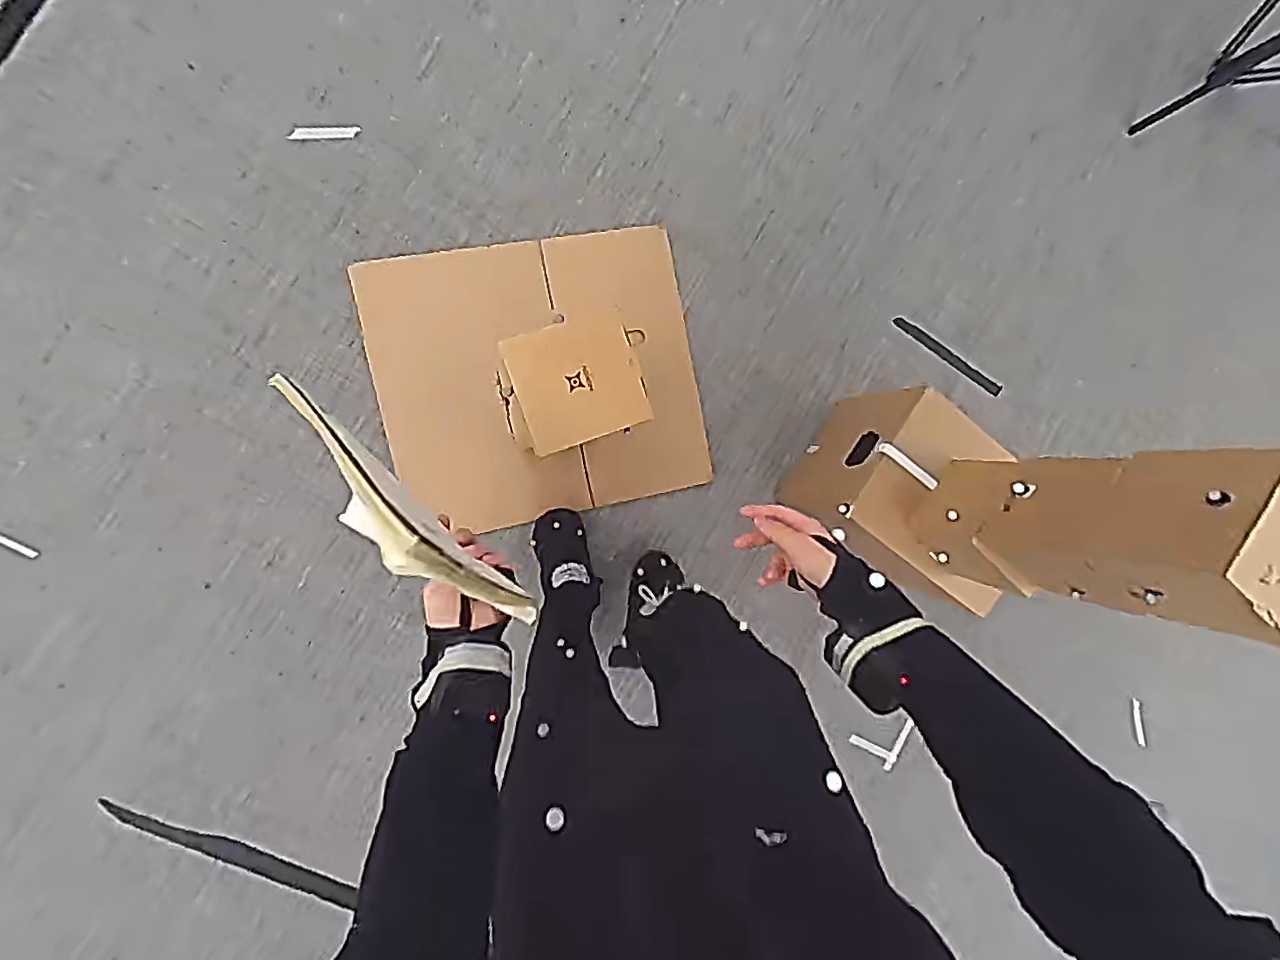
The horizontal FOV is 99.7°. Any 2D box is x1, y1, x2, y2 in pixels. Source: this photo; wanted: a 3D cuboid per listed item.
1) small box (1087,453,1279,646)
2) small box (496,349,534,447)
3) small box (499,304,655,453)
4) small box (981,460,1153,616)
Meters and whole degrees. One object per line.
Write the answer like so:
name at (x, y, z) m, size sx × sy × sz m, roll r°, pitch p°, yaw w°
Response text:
small box at (0.728, 0.077, 0.683) m, size 0.168 × 0.176 × 0.179 m, roll 37°, pitch 86°, yaw -10°
small box at (-0.151, -0.153, 0.970) m, size 0.179 × 0.176 × 0.168 m, roll -14°, pitch 97°, yaw -12°
small box at (-0.099, -0.143, 0.815) m, size 0.179 × 0.176 × 0.168 m, roll -21°, pitch 98°, yaw -11°
small box at (0.692, 0.079, 0.844) m, size 0.179 × 0.176 × 0.168 m, roll 34°, pitch 86°, yaw -10°
